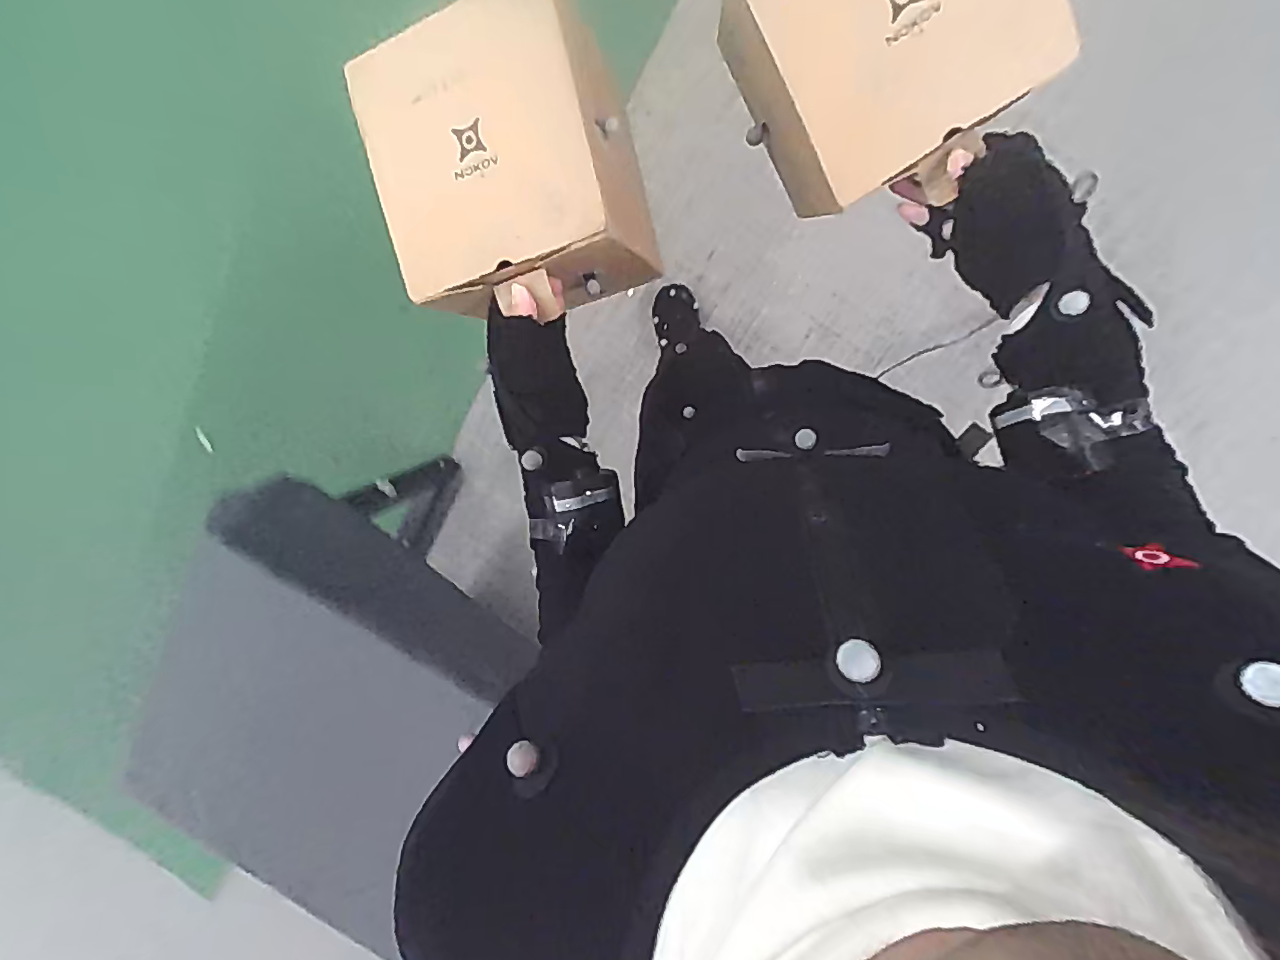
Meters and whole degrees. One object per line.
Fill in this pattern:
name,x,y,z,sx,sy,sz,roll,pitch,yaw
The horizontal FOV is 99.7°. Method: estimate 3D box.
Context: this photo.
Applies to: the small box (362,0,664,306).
small box,-0.088,-0.257,0.459,0.168,0.176,0.179,-12,96,17
